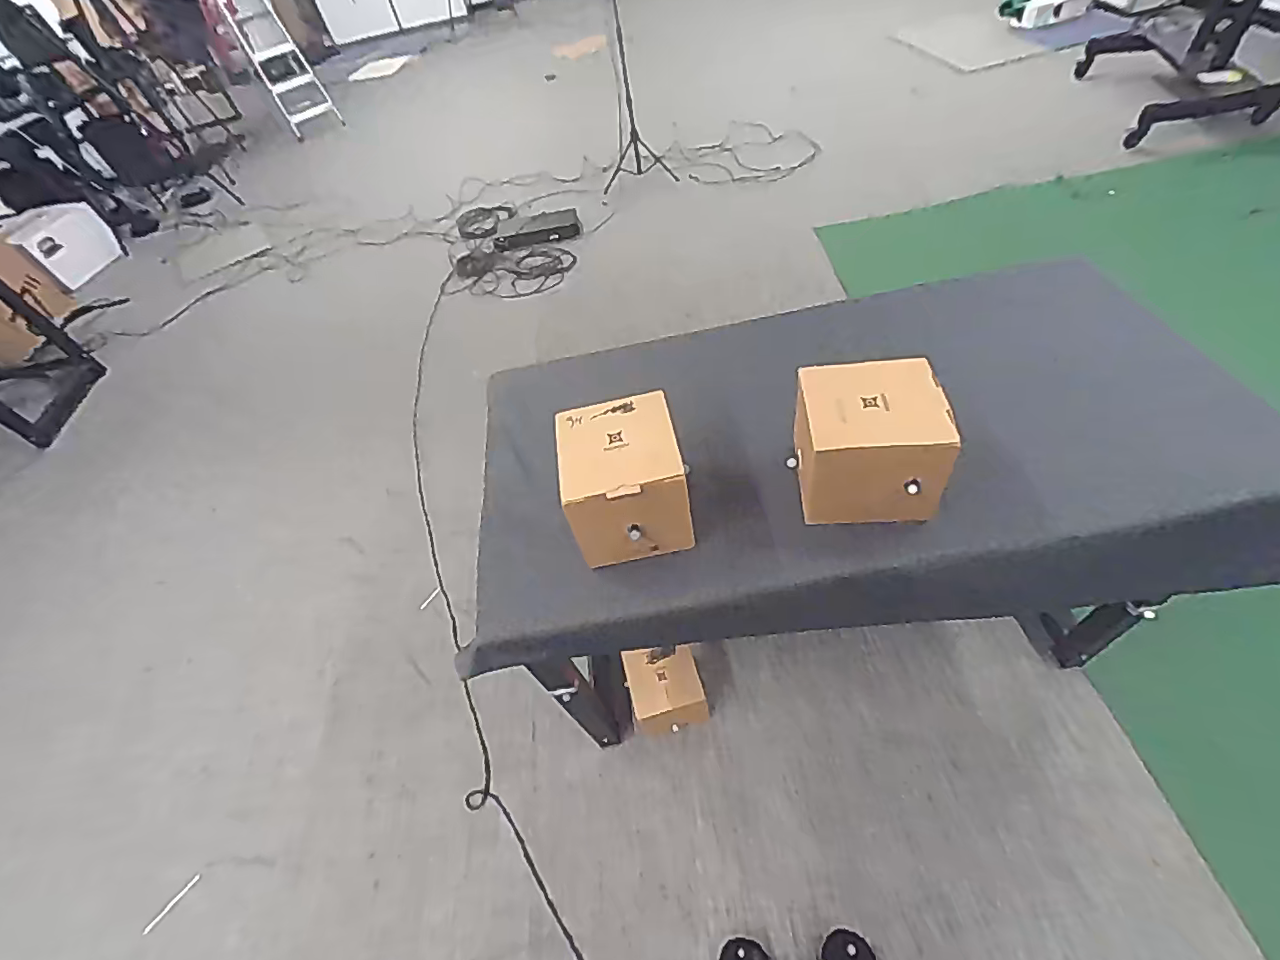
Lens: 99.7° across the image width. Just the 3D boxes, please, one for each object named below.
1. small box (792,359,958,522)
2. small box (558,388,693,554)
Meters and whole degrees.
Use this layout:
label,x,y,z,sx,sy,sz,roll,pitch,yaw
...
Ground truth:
label,x,y,z,sx,sy,sz,roll,pitch,yaw
small box,0.323,-0.052,0.785,0.179,0.176,0.168,-4,50,9
small box,-0.020,-0.005,0.808,0.168,0.176,0.179,-11,50,1
